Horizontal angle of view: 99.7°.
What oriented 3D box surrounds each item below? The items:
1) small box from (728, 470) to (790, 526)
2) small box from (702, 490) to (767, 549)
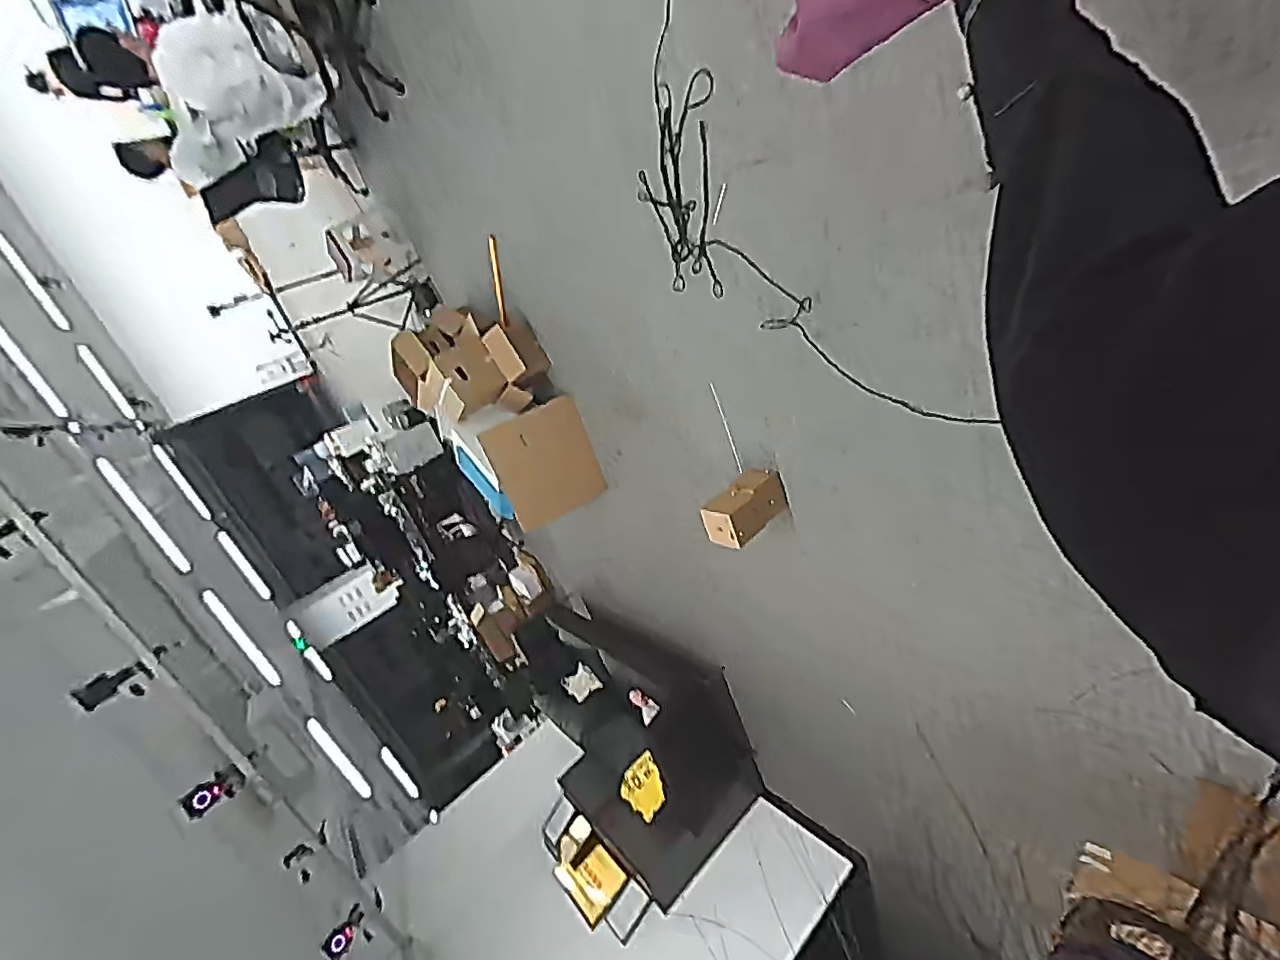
[{"bbox_3d":[0.508,0.070,2.299,0.168,0.176,0.179,9,128,54],"label":"small box"},{"bbox_3d":[0.392,0.157,2.223,0.179,0.176,0.168,11,129,54],"label":"small box"}]
